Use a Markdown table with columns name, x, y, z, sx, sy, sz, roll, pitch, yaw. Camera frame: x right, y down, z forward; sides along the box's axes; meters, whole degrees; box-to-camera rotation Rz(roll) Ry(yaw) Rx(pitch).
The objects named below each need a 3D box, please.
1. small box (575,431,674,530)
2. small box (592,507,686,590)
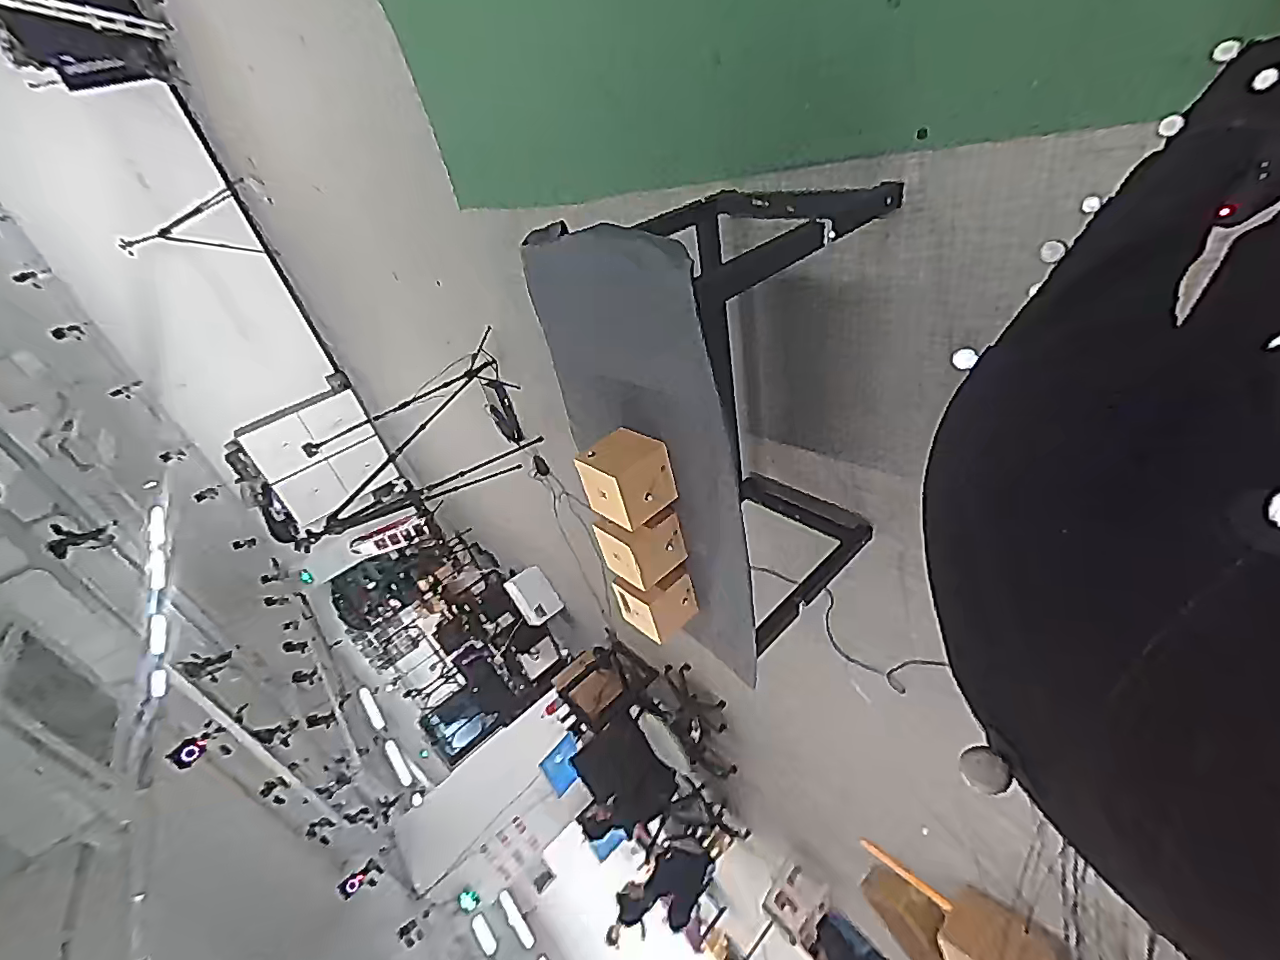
| name | x | y | z | sx | sy | sz | roll | pitch | yaw |
| --- | --- | --- | --- | --- | --- | --- | --- | --- | --- |
| small box | -0.031 | -0.007 | 1.366 | 0.179 | 0.176 | 0.168 | 24 | 140 | 46 |
| small box | 0.000 | 0.168 | 1.504 | 0.179 | 0.176 | 0.168 | 23 | 139 | 46 |
